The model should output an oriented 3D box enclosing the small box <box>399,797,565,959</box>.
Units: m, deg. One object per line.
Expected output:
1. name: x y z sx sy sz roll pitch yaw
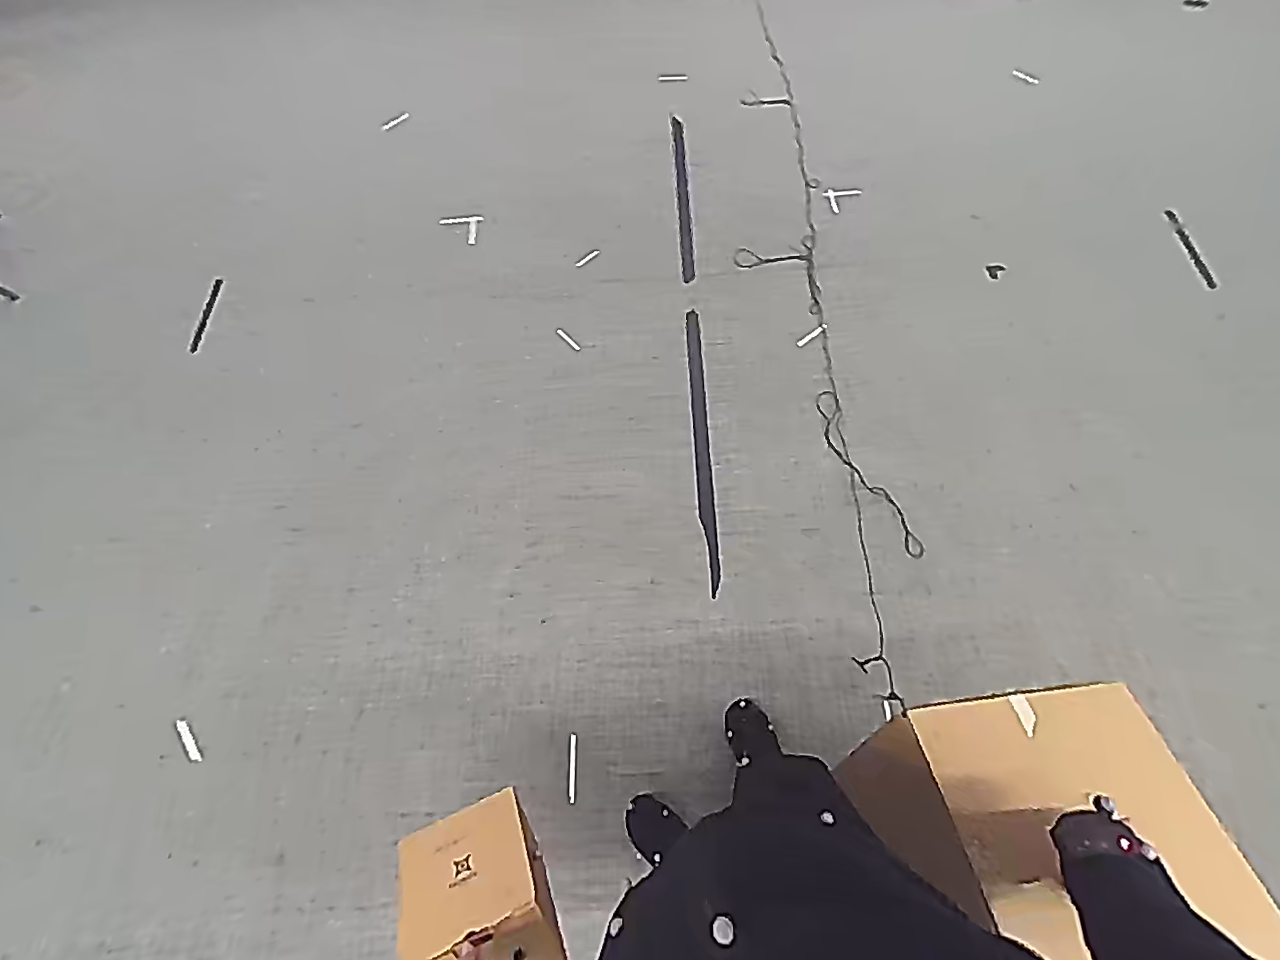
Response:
1. small box: -0.213 0.592 0.736 0.168 0.176 0.179 -19 23 -17
